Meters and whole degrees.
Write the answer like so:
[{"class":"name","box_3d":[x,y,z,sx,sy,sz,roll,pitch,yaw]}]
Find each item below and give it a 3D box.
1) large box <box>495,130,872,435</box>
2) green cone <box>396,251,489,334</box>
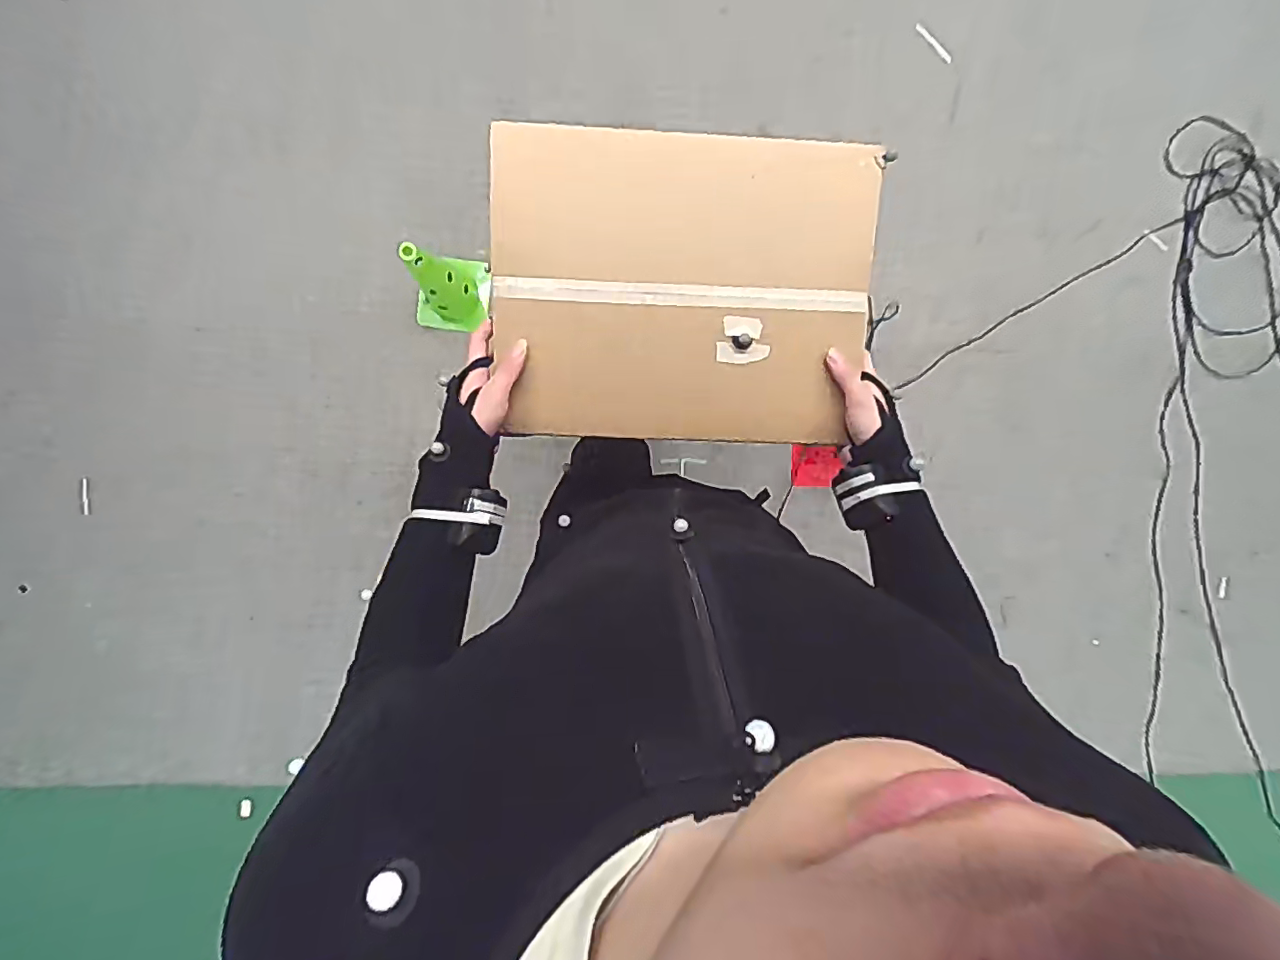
[{"class":"large box","box_3d":[0.037,-0.233,0.735,0.408,0.320,0.320,1,102,-4]},{"class":"green cone","box_3d":[-0.536,-0.514,1.384,0.200,0.368,0.202,6,95,-2]}]
